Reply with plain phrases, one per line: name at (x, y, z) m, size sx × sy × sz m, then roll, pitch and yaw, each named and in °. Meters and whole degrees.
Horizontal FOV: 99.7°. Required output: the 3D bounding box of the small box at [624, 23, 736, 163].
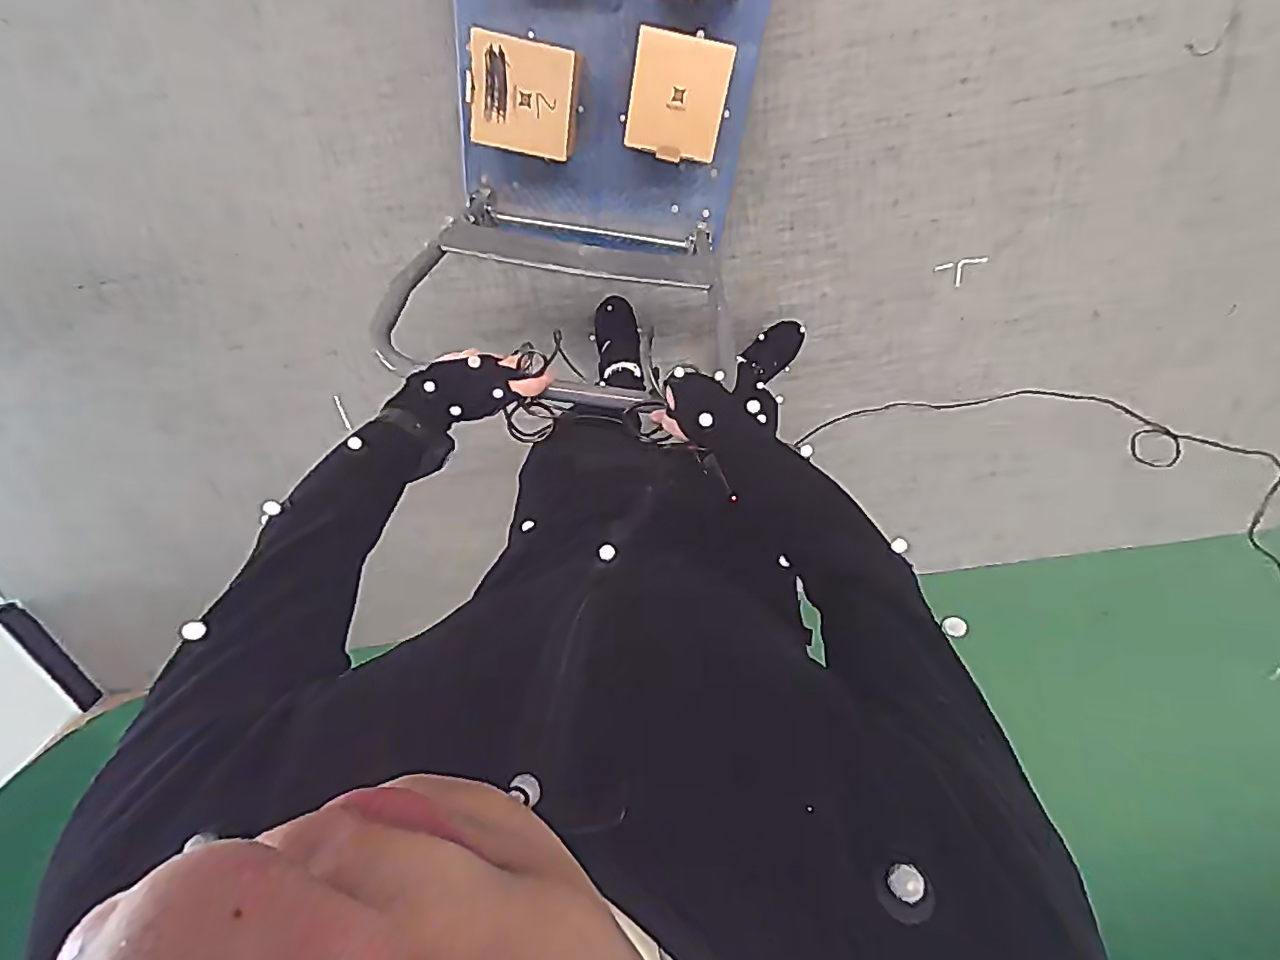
small box at (0.066, -0.713, 1.001) m, size 0.168 × 0.176 × 0.179 m, roll 9°, pitch 127°, yaw -5°
